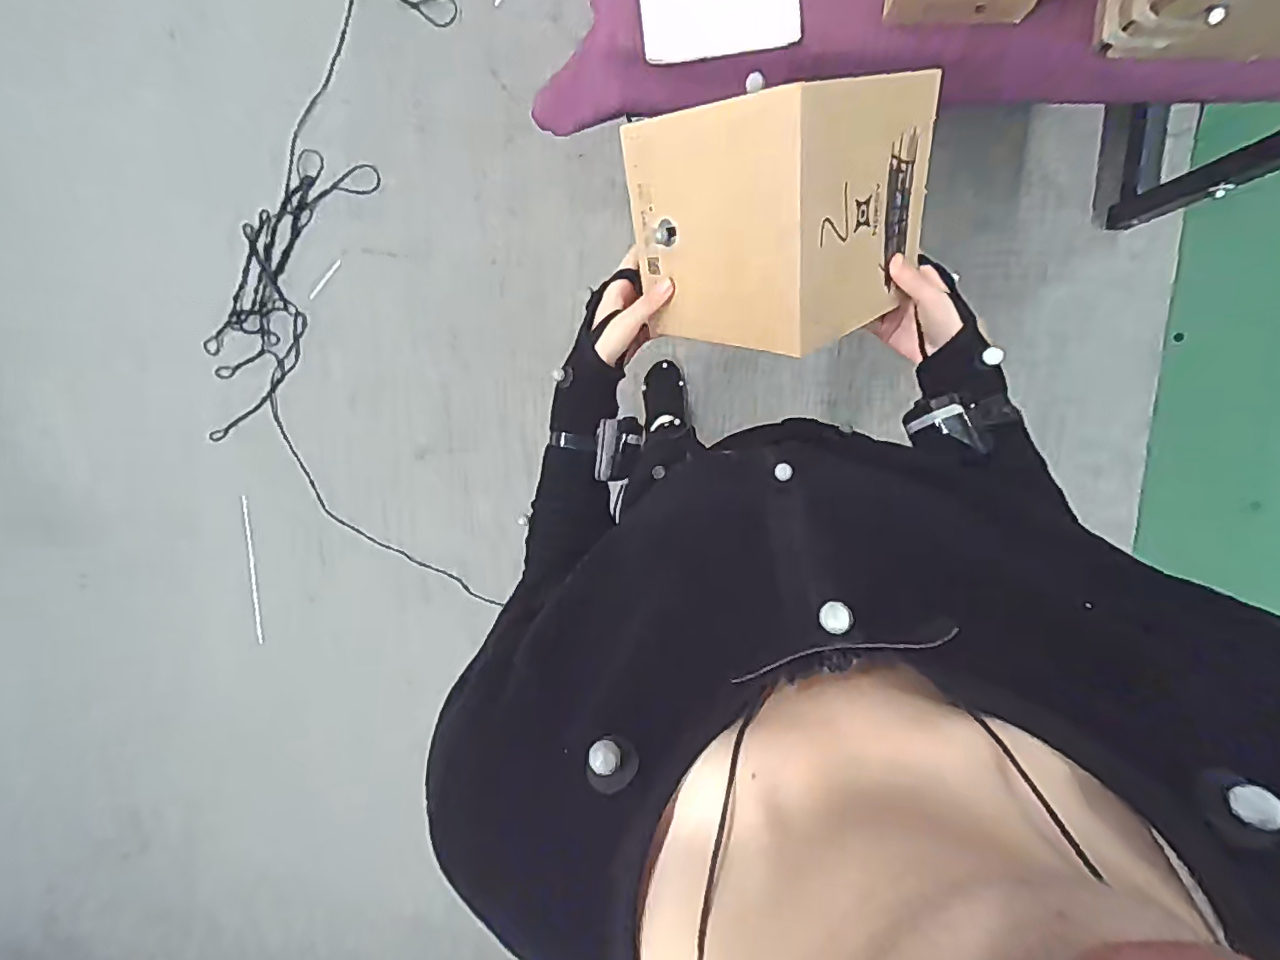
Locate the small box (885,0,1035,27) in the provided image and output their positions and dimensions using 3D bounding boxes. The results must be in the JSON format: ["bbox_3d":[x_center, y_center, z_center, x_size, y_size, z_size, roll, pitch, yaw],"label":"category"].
[{"bbox_3d":[0.379,-0.631,0.577,0.168,0.176,0.179,4,97,4],"label":"small box"}]
